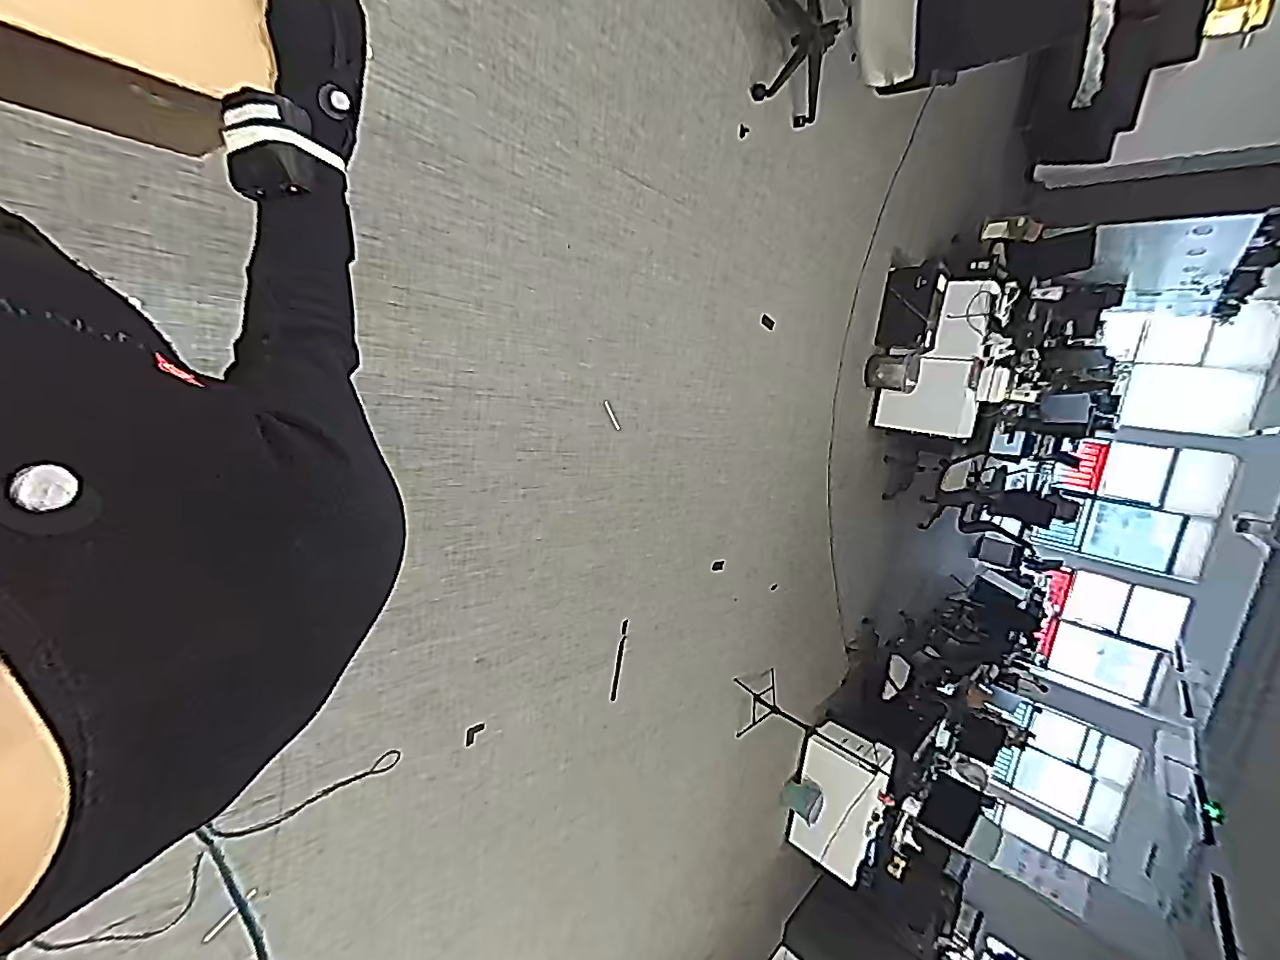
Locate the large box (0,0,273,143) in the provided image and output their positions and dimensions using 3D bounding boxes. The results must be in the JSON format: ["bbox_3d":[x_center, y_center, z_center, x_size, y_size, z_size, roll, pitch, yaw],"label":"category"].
[{"bbox_3d":[-0.515,-0.466,0.342,0.408,0.320,0.320,-7,113,-48],"label":"large box"}]
